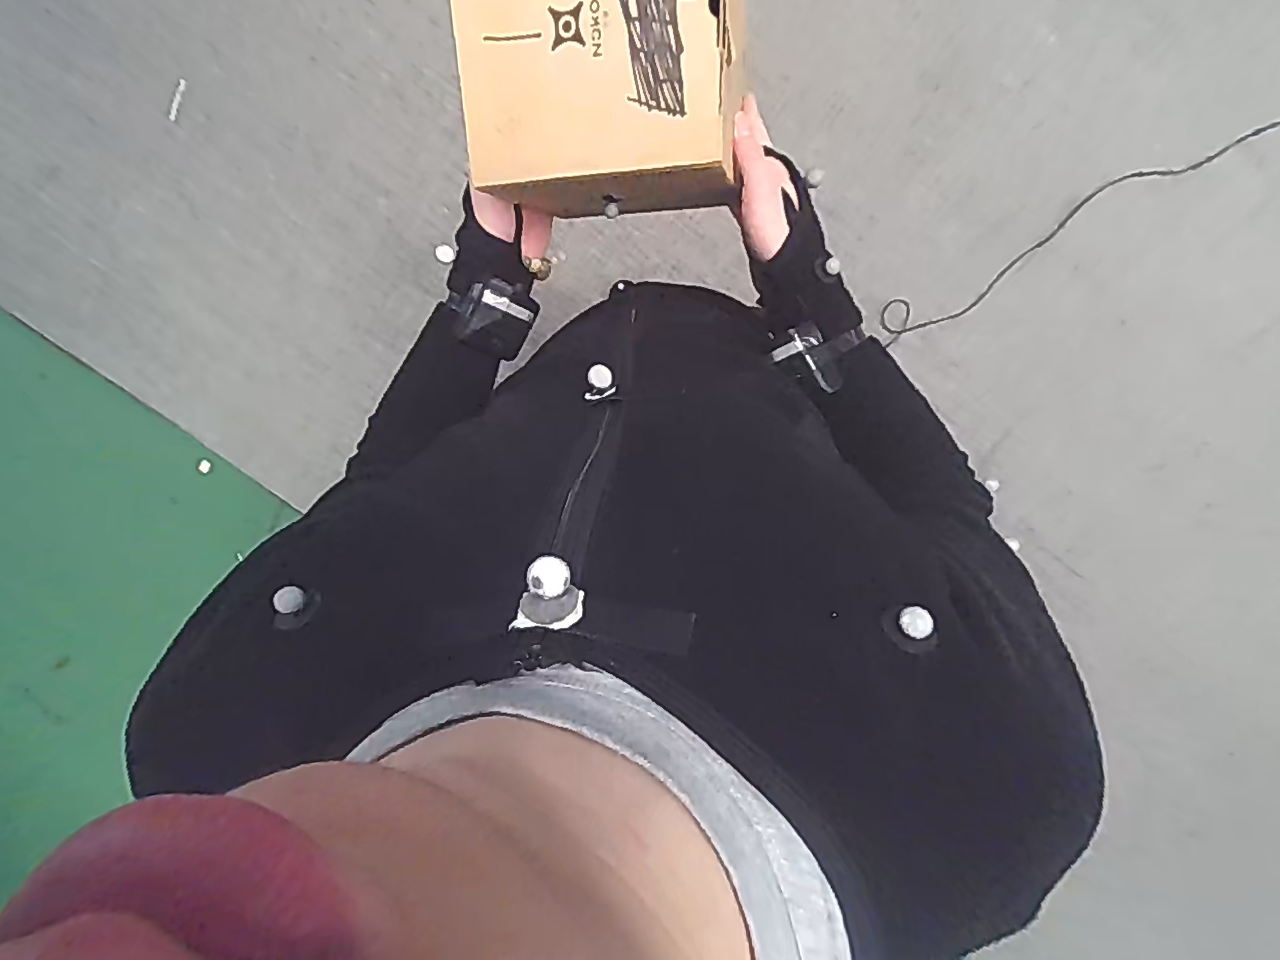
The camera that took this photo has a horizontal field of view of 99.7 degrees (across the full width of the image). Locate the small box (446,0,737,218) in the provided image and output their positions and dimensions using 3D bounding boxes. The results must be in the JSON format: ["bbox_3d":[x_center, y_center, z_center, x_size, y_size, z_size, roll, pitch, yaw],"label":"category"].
[{"bbox_3d":[-0.020,-0.301,0.406,0.179,0.176,0.168,2,109,14],"label":"small box"}]
